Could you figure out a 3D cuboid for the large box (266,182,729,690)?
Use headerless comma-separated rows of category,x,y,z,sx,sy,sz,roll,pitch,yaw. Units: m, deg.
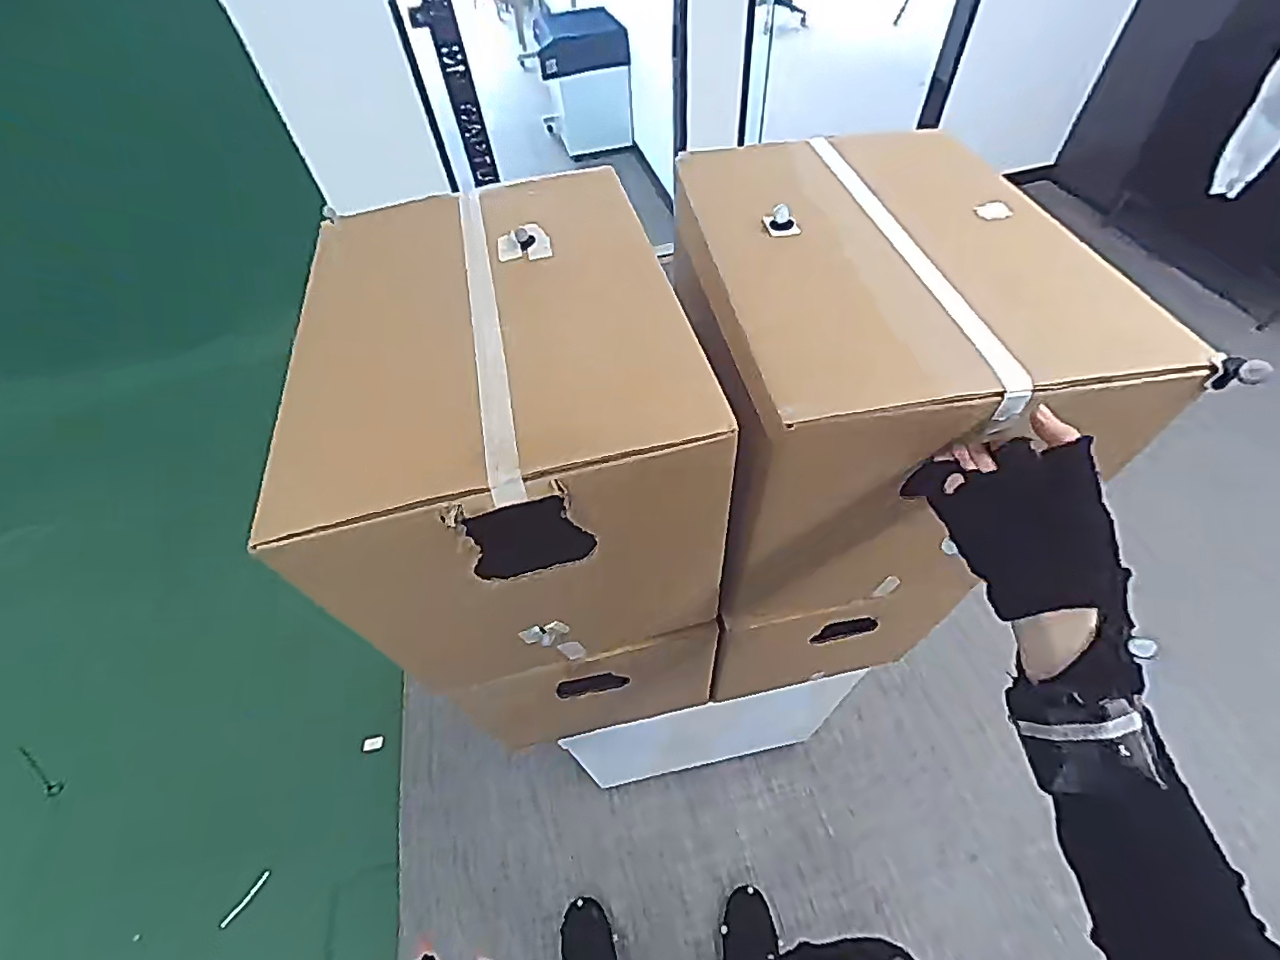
large box,-0.120,-0.053,0.580,0.320,0.320,0.408,-13,52,-5
